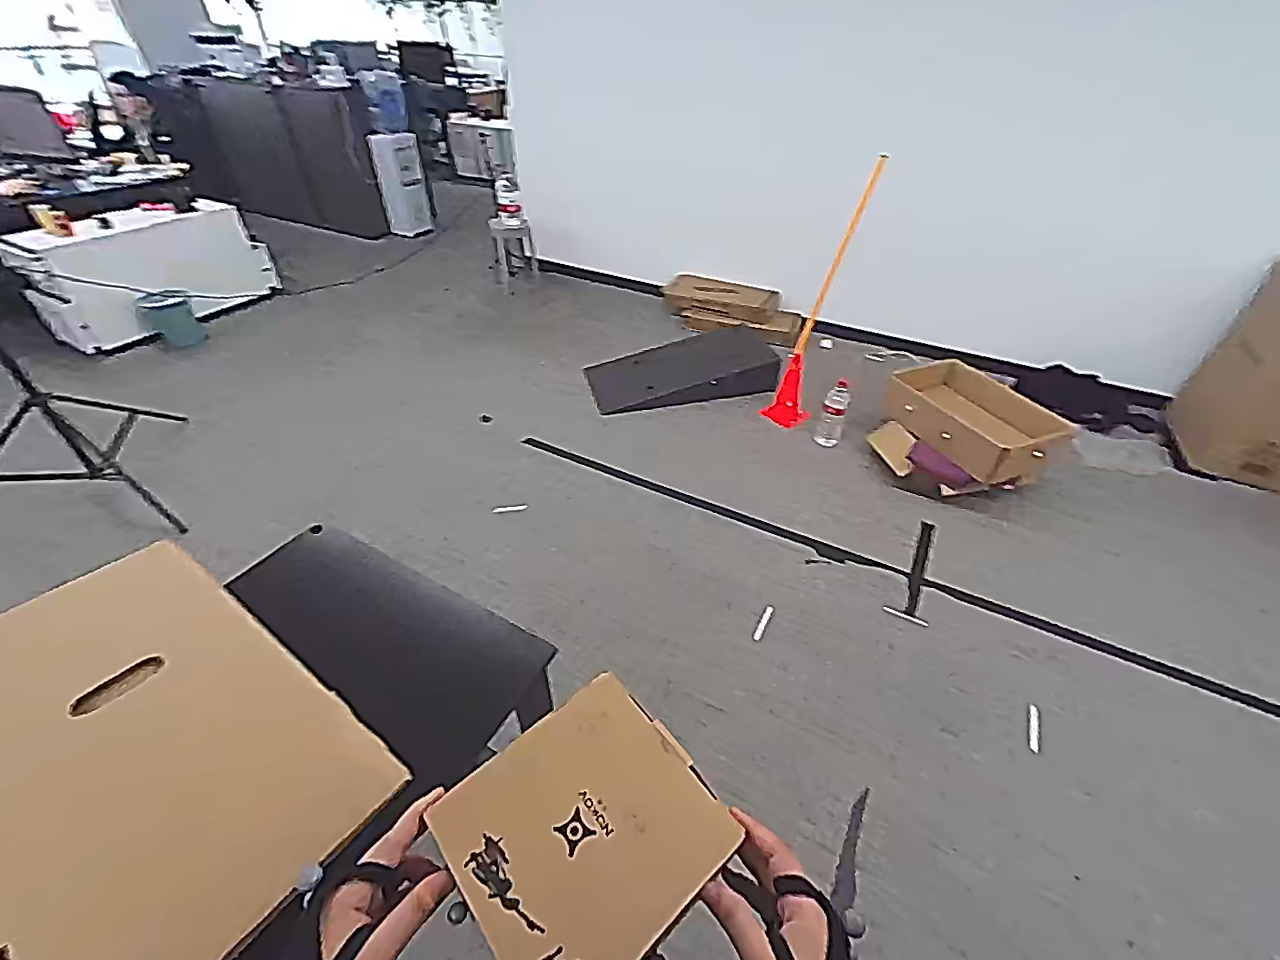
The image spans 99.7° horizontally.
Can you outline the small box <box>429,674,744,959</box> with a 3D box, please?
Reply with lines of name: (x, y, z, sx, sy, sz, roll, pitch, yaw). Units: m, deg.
small box: (-0.044, 0.308, 0.449, 0.179, 0.176, 0.168, -29, 52, -31)
